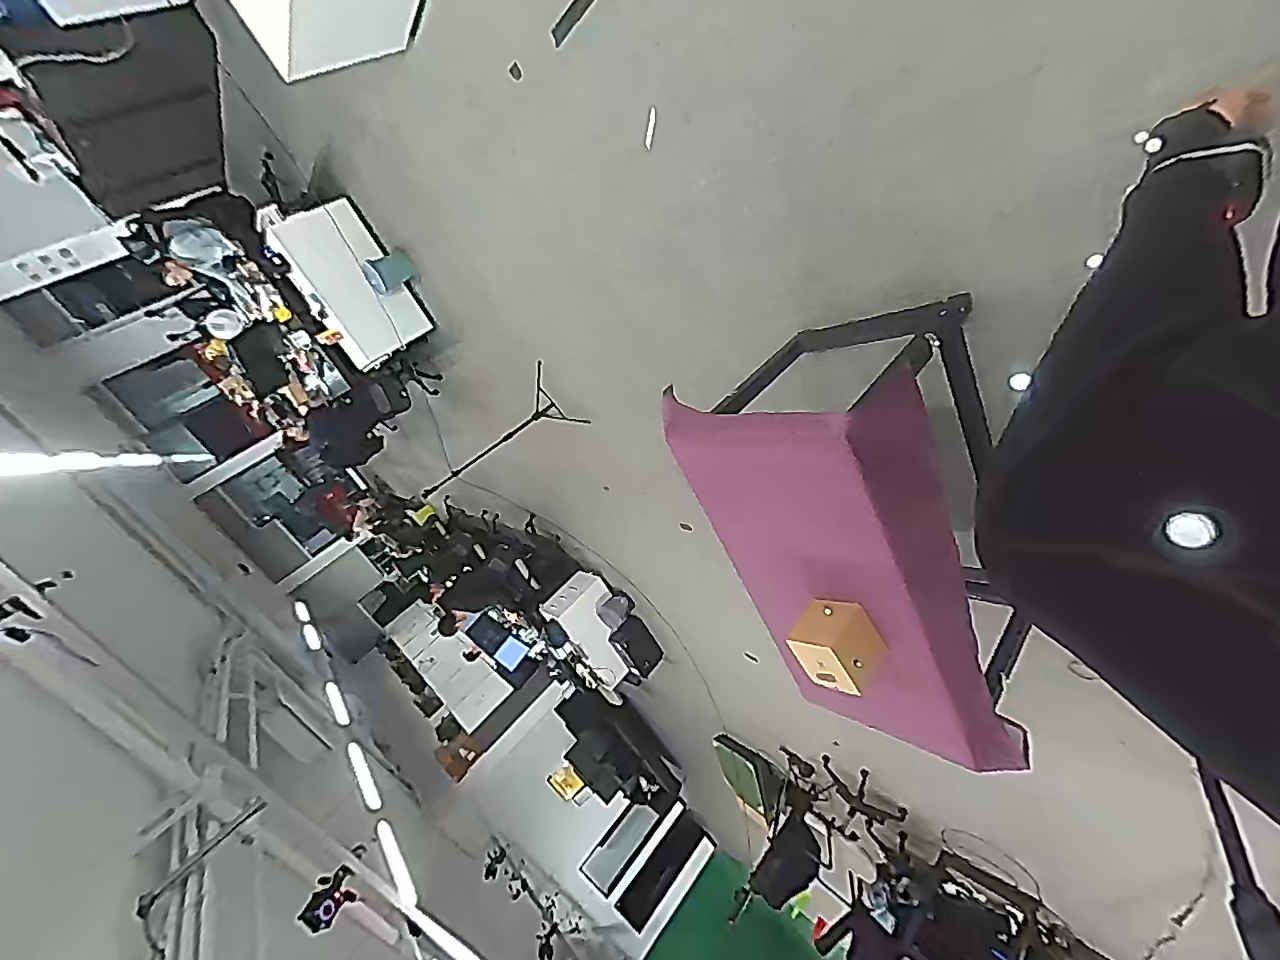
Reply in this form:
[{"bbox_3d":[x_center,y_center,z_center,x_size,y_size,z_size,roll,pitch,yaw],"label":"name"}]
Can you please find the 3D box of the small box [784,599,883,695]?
[{"bbox_3d":[0.548,0.463,1.521,0.179,0.176,0.168,55,151,-13],"label":"small box"}]
